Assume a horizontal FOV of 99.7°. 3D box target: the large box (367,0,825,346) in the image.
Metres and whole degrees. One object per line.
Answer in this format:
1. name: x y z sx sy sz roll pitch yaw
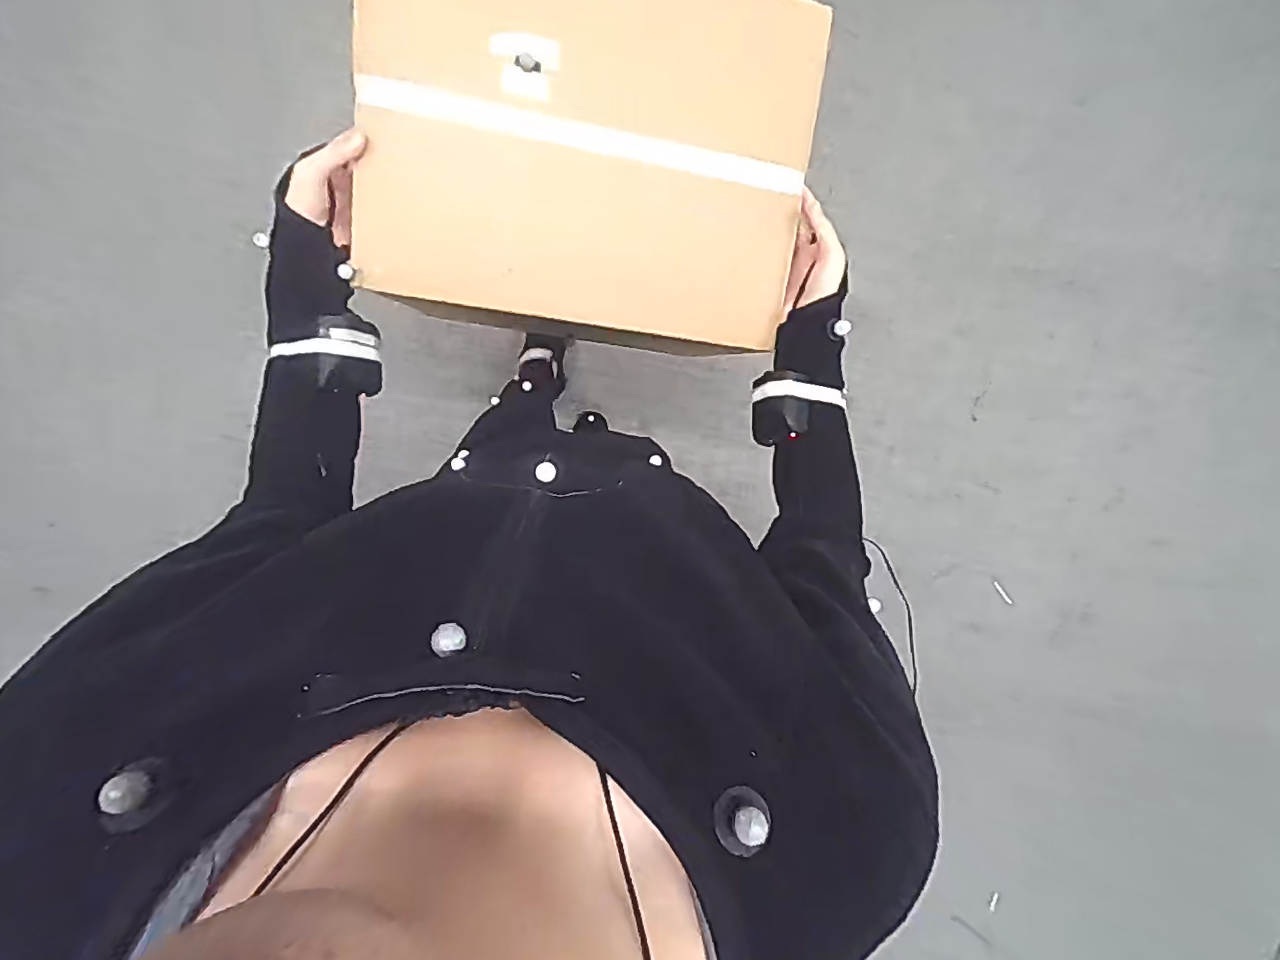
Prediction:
1. large box: -0.059 -0.340 0.644 0.408 0.320 0.320 6 100 -10
